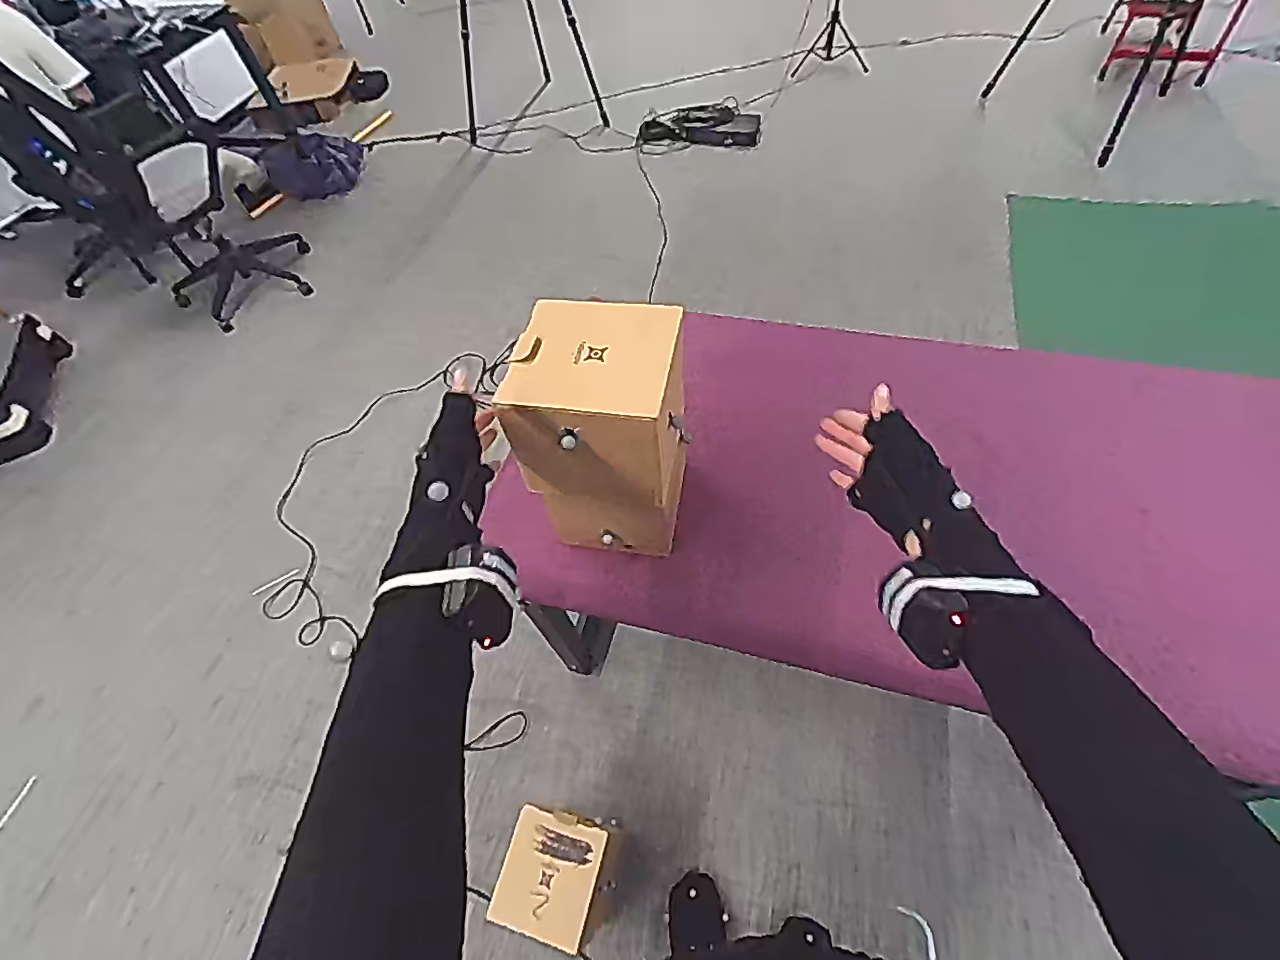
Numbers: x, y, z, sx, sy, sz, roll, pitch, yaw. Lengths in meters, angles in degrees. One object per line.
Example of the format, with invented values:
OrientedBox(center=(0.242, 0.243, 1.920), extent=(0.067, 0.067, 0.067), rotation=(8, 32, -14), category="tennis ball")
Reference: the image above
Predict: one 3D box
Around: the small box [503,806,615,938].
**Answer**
OrientedBox(center=(-0.158, 0.809, 1.132), extent=(0.168, 0.176, 0.179), rotation=(12, 59, 14), category="small box")

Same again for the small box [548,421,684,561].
OrientedBox(center=(-0.030, -0.005, 0.790), extent=(0.168, 0.176, 0.179), rotation=(7, 56, 10), category="small box")

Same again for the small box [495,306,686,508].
OrientedBox(center=(-0.043, -0.082, 0.646), extent=(0.179, 0.176, 0.168), rotation=(7, 57, 10), category="small box")
